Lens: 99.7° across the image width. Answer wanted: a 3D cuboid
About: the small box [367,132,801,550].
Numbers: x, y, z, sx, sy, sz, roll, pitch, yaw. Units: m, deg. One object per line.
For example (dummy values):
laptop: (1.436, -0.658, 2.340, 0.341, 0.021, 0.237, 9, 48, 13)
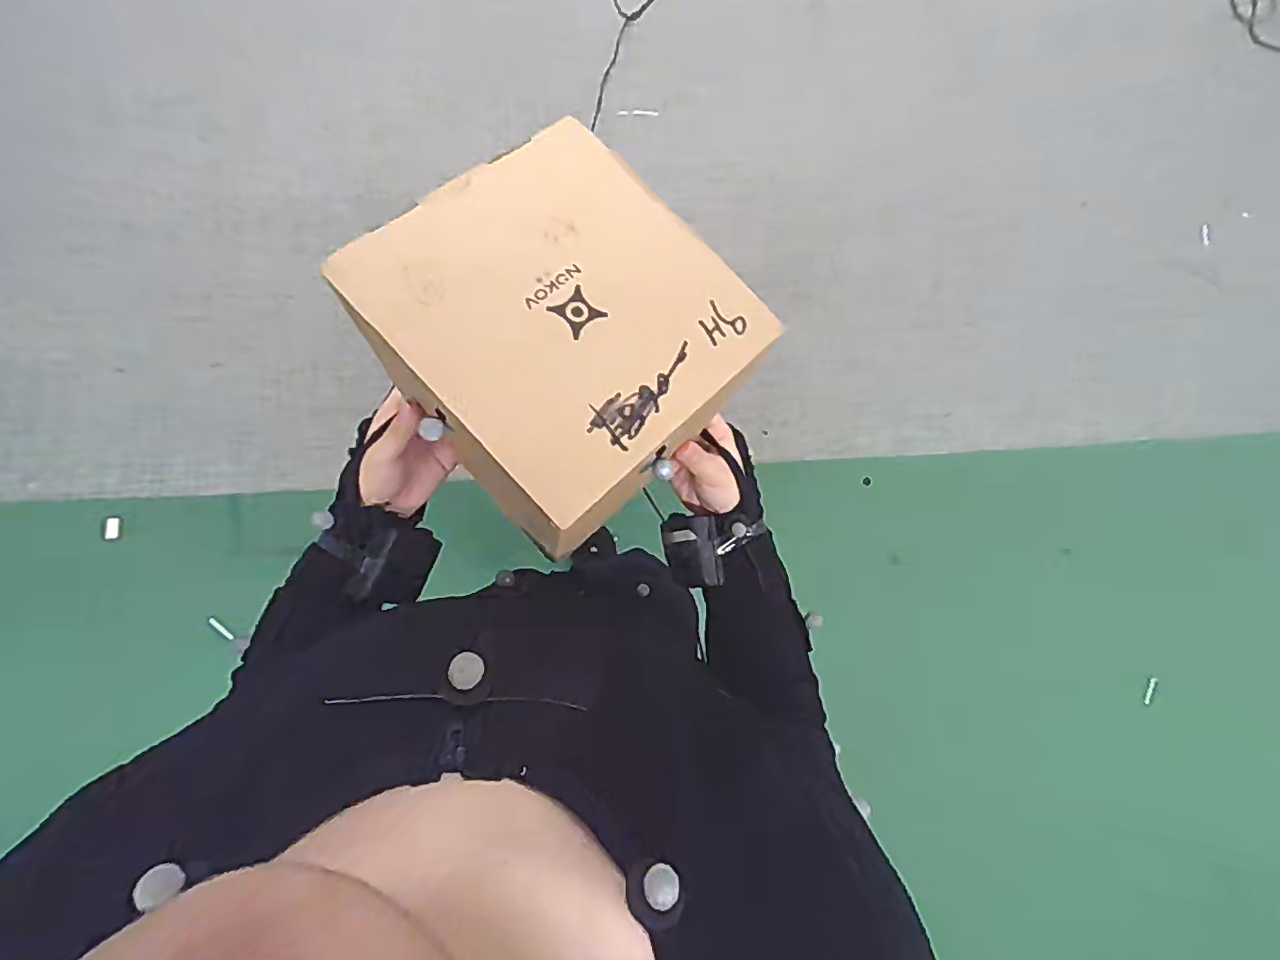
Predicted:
small box: (-0.037, -0.072, 0.363, 0.168, 0.176, 0.179, -42, 86, -16)
